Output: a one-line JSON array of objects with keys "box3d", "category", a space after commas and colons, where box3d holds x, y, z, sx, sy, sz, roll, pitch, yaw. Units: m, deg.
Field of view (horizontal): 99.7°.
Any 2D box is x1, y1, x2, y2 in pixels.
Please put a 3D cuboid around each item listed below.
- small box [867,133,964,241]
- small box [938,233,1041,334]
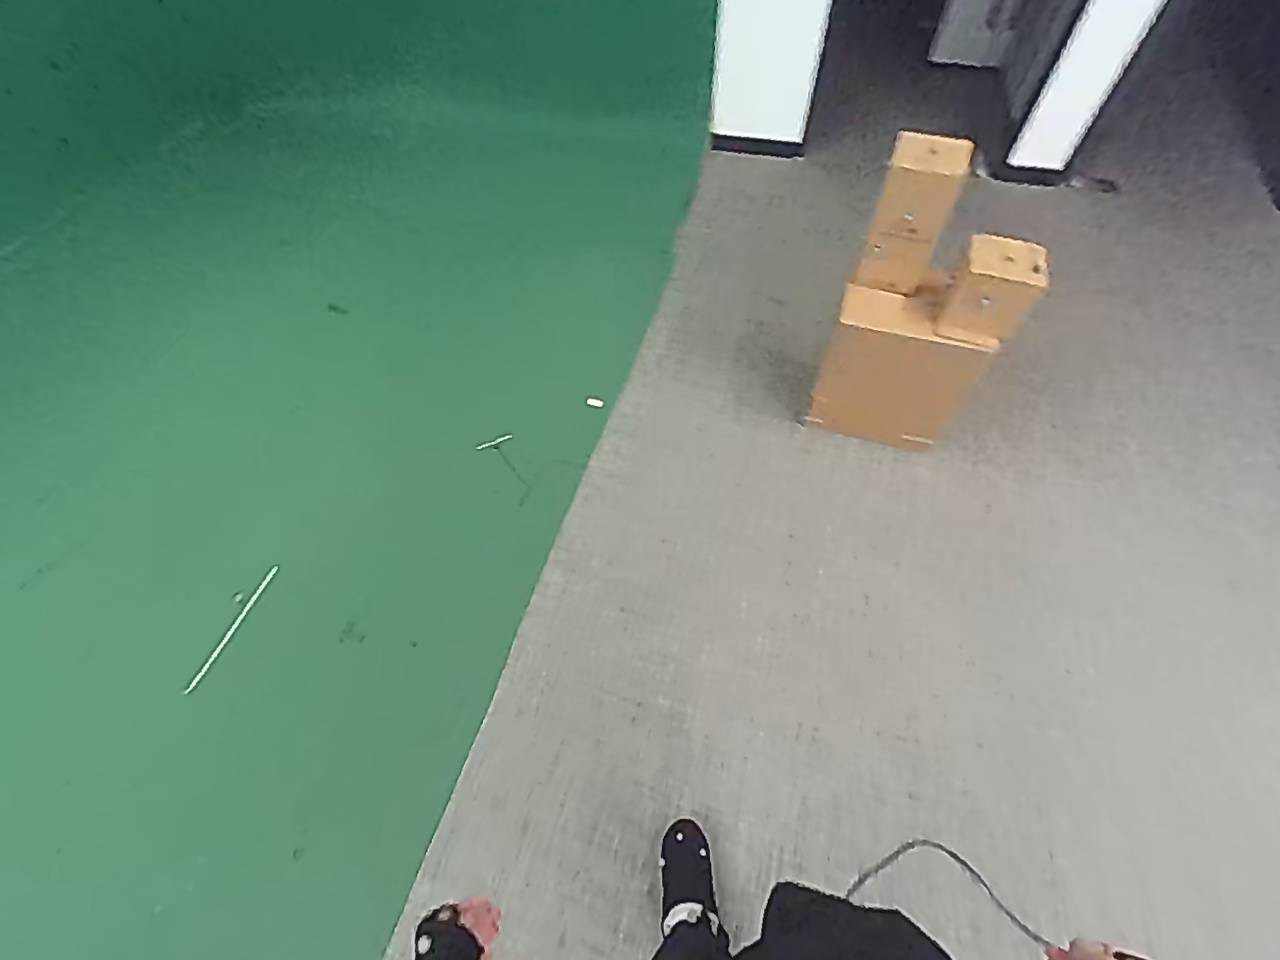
[{"box3d": [0.692, -0.741, 1.370, 0.168, 0.176, 0.179, 18, 60, 15], "category": "small box"}, {"box3d": [0.896, -0.504, 1.398, 0.179, 0.176, 0.168, 16, 62, 13], "category": "small box"}]
